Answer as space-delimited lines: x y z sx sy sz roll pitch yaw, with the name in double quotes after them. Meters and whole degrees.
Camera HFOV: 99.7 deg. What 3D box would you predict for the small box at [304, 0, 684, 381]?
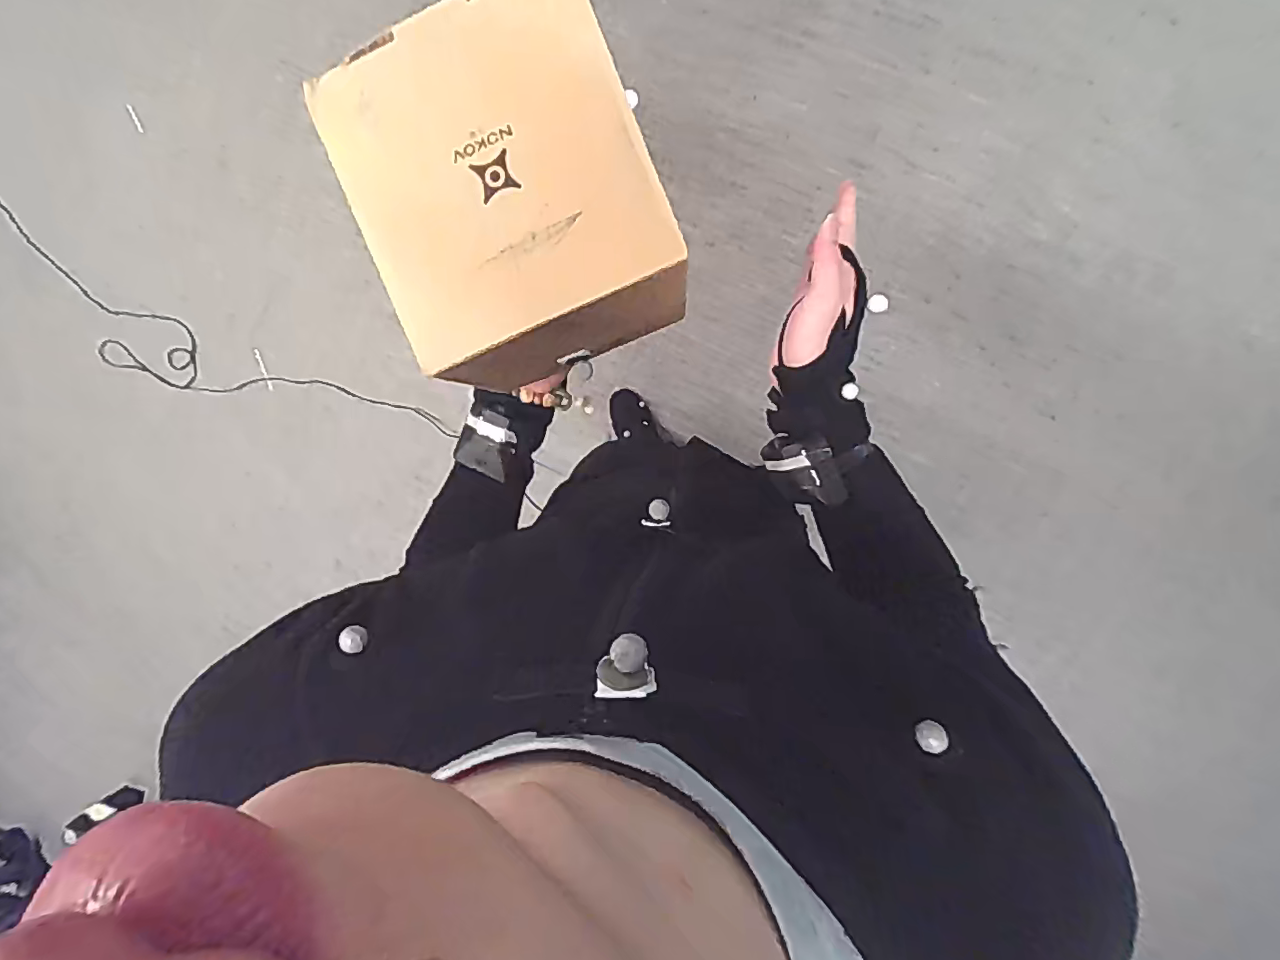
-0.077 -0.183 0.378 0.168 0.176 0.179 -22 94 6 "small box"
